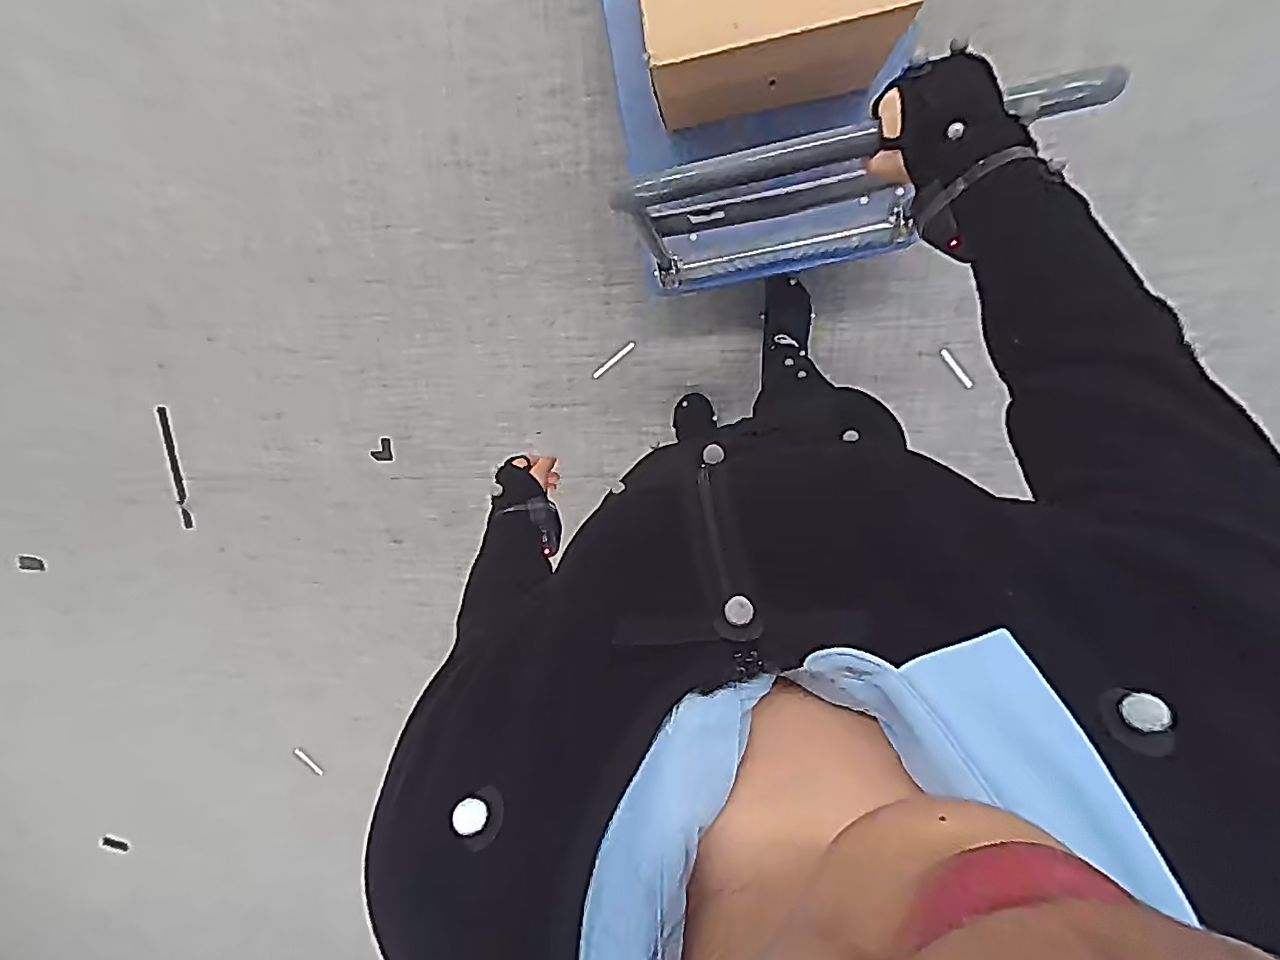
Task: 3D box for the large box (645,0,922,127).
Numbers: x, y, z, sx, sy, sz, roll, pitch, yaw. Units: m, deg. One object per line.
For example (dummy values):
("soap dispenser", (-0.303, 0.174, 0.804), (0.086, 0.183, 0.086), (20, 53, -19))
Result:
("large box", (0.215, -0.849, 0.897), (0.408, 0.320, 0.320), (-7, 104, 12))
